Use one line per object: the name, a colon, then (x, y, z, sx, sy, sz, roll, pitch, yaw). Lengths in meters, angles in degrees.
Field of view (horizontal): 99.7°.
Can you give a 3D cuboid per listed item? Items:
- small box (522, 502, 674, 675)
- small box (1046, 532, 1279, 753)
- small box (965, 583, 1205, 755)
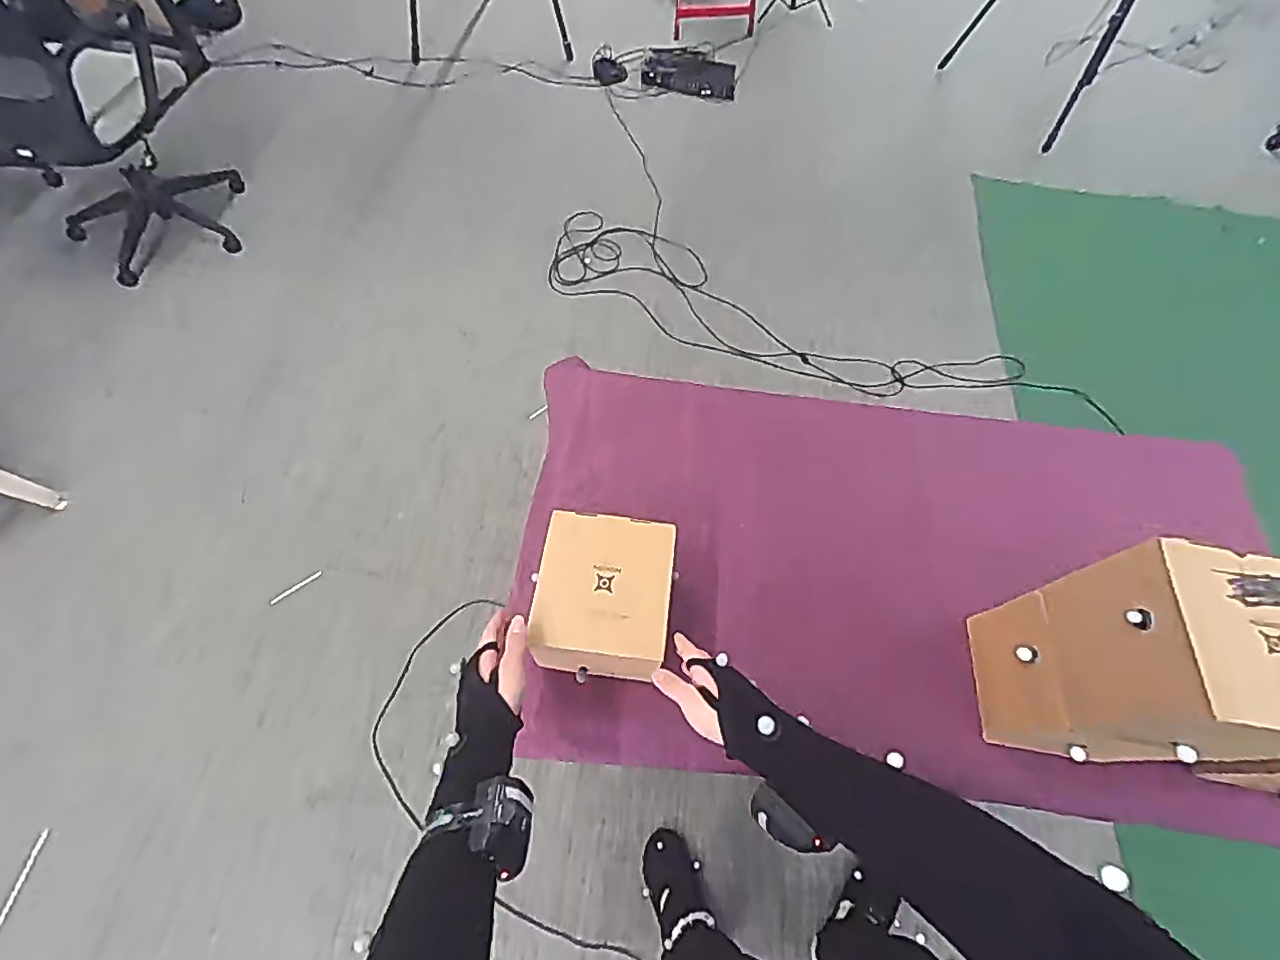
small box: (-0.051, 0.153, 0.735, 0.168, 0.176, 0.179, 8, 62, 1)
small box: (0.576, 0.178, 0.574, 0.168, 0.176, 0.179, 10, 62, 2)
small box: (0.566, 0.257, 0.717, 0.168, 0.176, 0.179, 9, 61, 2)
